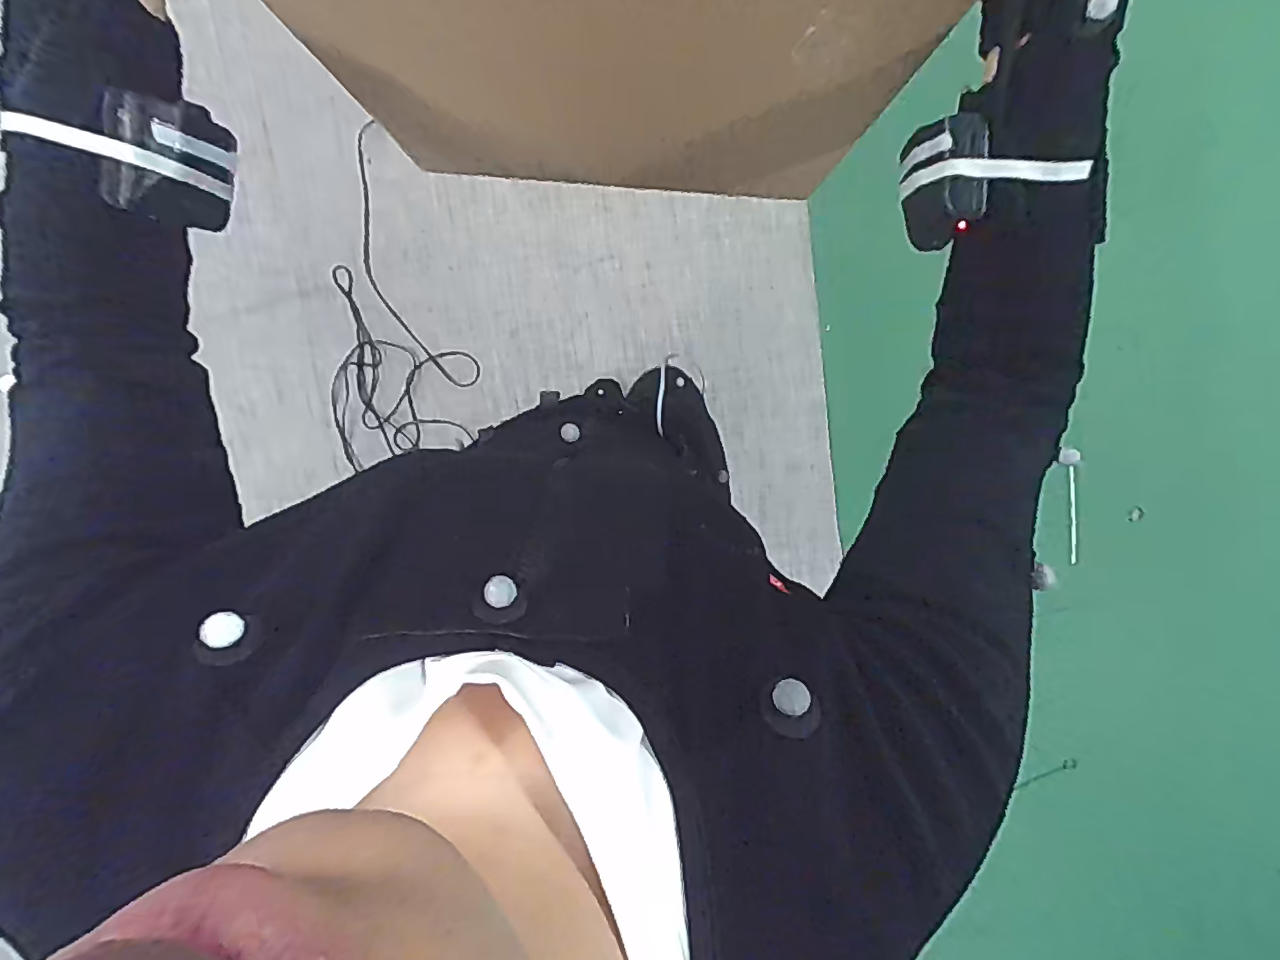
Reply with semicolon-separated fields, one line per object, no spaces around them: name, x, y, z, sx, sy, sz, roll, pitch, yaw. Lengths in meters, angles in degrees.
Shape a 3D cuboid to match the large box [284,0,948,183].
large box;-0.017;-0.441;0.389;0.408;0.320;0.320;3;99;-2
